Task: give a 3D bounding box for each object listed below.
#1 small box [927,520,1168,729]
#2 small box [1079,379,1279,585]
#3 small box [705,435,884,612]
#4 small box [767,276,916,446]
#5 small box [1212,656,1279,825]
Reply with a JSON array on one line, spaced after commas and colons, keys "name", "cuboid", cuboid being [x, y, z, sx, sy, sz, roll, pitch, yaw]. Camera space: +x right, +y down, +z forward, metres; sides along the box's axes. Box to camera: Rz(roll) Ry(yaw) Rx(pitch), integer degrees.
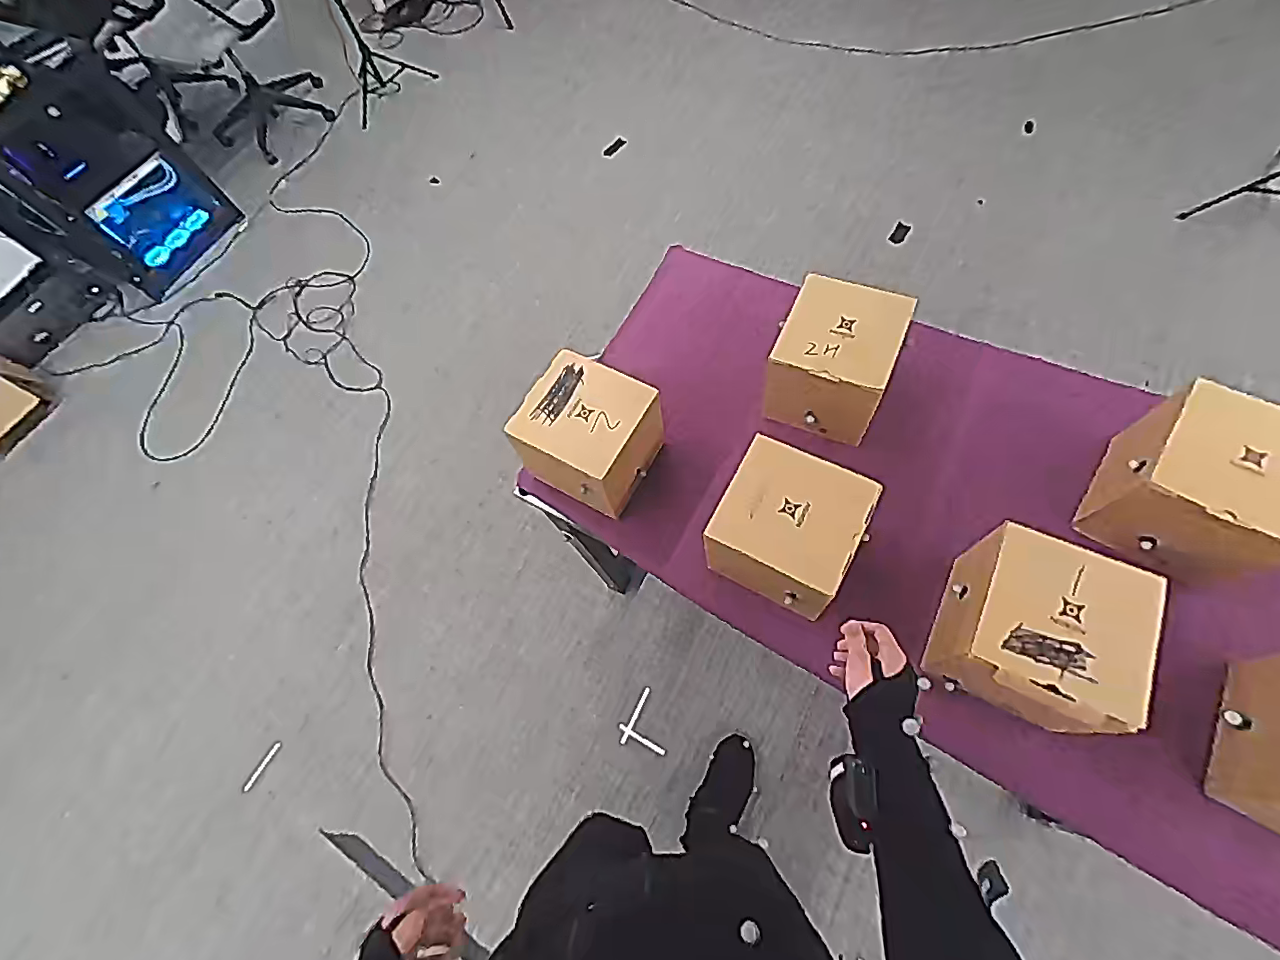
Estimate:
[{"name": "small box", "cuboid": [0.478, 0.183, 0.662, 0.168, 0.176, 0.179, 24, 70, 19]}, {"name": "small box", "cuboid": [0.728, 0.009, 0.705, 0.168, 0.176, 0.179, 31, 75, 21]}, {"name": "small box", "cuboid": [0.208, 0.070, 0.759, 0.179, 0.176, 0.168, 25, 71, 19]}, {"name": "small box", "cuboid": [0.309, -0.185, 0.863, 0.168, 0.176, 0.179, 22, 71, 18]}, {"name": "small box", "cuboid": [0.762, 0.297, 0.559, 0.168, 0.176, 0.179, 27, 71, 20]}]
